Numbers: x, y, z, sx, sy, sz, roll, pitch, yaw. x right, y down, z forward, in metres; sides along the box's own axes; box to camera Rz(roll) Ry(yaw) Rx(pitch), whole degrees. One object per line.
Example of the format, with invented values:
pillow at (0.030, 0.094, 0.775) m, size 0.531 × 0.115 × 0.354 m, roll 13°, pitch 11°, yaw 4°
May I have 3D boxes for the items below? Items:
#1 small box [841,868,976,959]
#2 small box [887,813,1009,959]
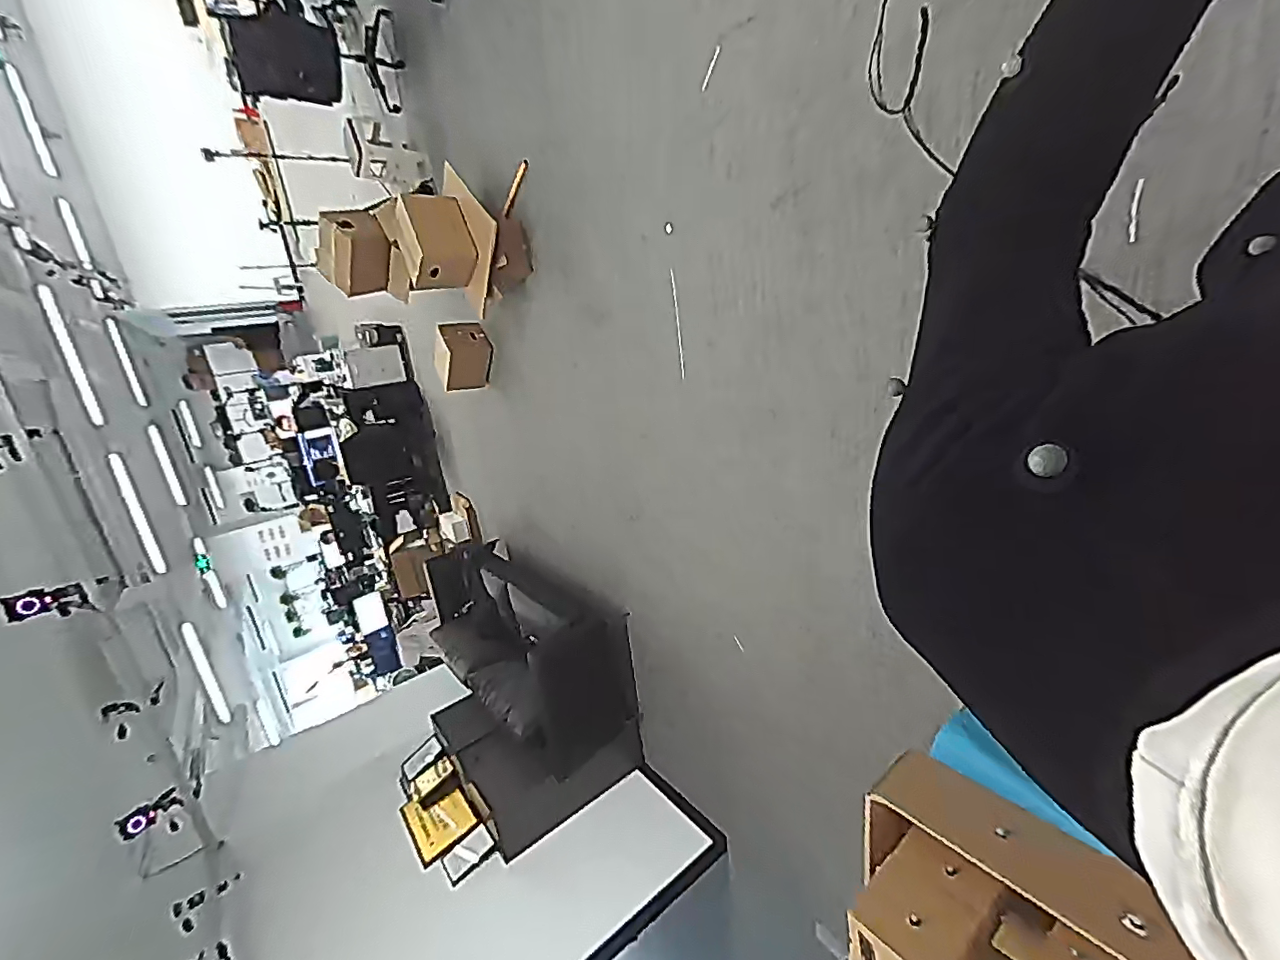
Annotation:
small box at (0.511, 0.900, 1.041) m, size 0.179 × 0.176 × 0.168 m, roll 15°, pitch 120°, yaw 50°
small box at (0.640, 0.850, 1.130) m, size 0.179 × 0.176 × 0.168 m, roll 18°, pitch 121°, yaw 50°
